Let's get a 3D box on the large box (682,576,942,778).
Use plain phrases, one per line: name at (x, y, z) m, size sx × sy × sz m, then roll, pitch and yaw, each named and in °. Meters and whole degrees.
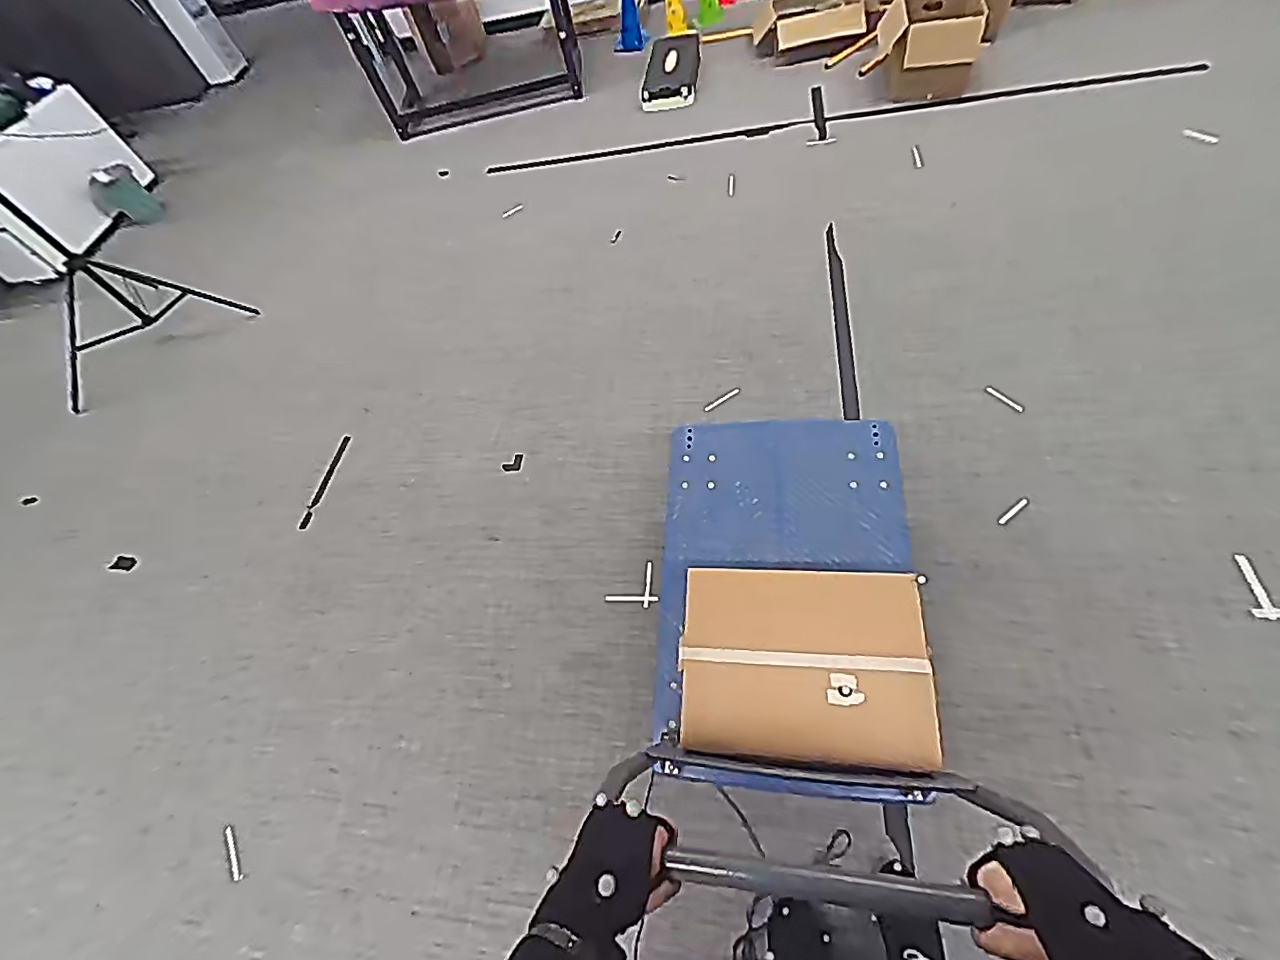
large box at (0.296, 0.378, 1.043) m, size 0.408 × 0.320 × 0.320 m, roll 0°, pitch 65°, yaw 11°
